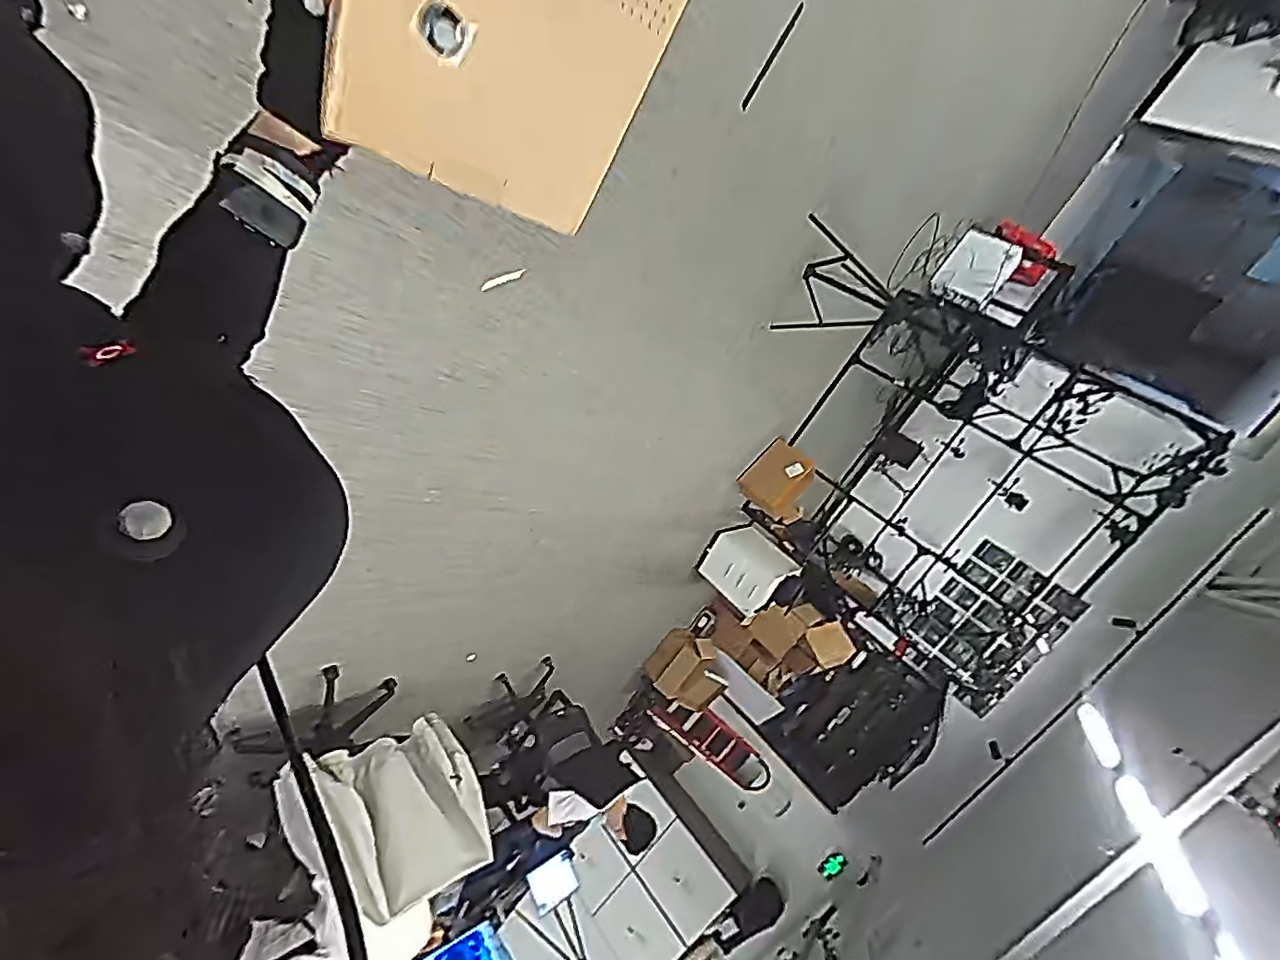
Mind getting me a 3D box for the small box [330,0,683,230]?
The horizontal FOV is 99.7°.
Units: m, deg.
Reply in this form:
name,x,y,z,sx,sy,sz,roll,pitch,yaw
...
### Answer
name,x,y,z,sx,sy,sz,roll,pitch,yaw
small box,-0.092,-0.305,0.348,0.168,0.179,0.176,9,133,-37
